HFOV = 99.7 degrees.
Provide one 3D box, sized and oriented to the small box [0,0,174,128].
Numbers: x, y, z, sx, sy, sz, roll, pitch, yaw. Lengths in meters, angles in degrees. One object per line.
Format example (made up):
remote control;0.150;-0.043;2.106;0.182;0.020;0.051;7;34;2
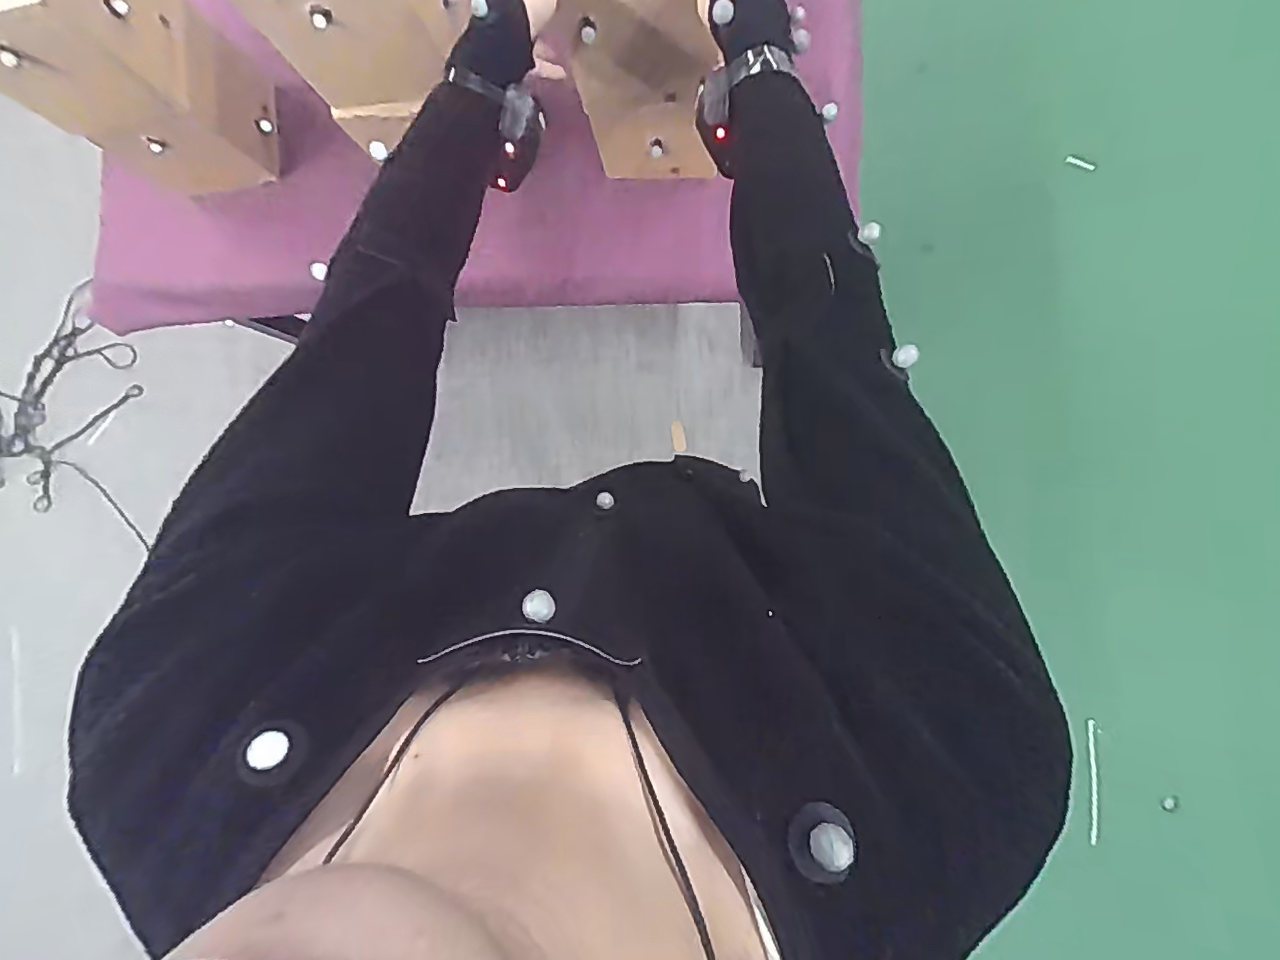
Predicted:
small box;-0.689;-0.551;0.627;0.179;0.176;0.168;-7;90;6

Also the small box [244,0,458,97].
small box;-0.315;-0.554;0.586;0.179;0.176;0.168;-2;88;5

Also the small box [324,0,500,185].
small box;-0.303;-0.542;0.749;0.168;0.176;0.179;1;89;6

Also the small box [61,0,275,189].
small box;-0.678;-0.553;0.788;0.179;0.176;0.168;-5;89;5

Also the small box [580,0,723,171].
small box;0.022;-0.537;0.716;0.168;0.176;0.179;3;90;6
